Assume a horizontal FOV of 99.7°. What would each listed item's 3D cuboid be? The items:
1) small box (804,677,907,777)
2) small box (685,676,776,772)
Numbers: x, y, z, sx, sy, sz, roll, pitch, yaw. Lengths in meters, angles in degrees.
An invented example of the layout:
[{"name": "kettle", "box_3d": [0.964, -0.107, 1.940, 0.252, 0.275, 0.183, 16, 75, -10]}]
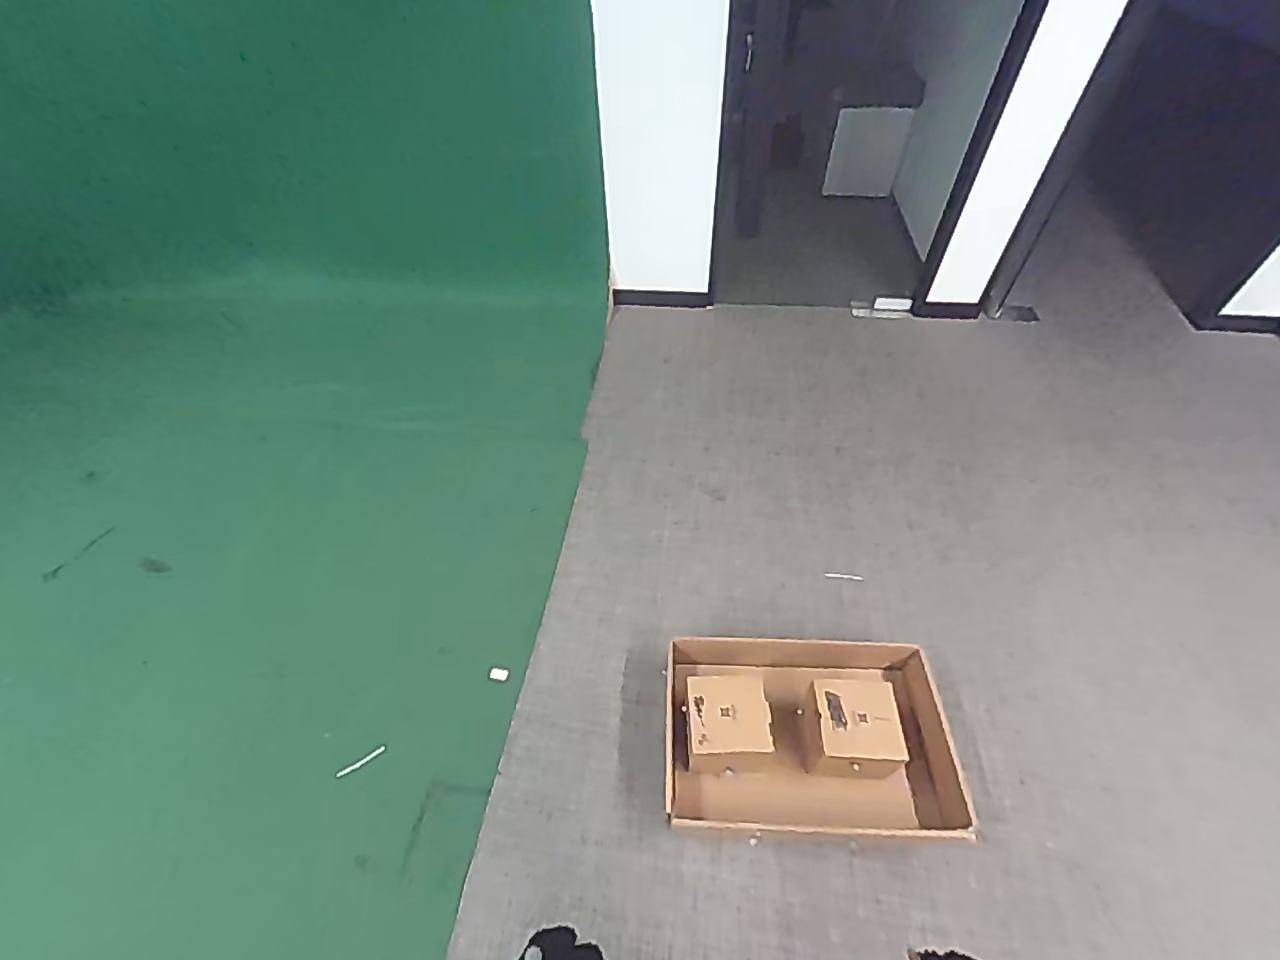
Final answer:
[{"name": "small box", "box_3d": [0.481, 0.568, 1.239, 0.179, 0.176, 0.168, 1, 50, 5]}, {"name": "small box", "box_3d": [0.200, 0.566, 1.252, 0.179, 0.176, 0.168, -1, 49, 0]}]
